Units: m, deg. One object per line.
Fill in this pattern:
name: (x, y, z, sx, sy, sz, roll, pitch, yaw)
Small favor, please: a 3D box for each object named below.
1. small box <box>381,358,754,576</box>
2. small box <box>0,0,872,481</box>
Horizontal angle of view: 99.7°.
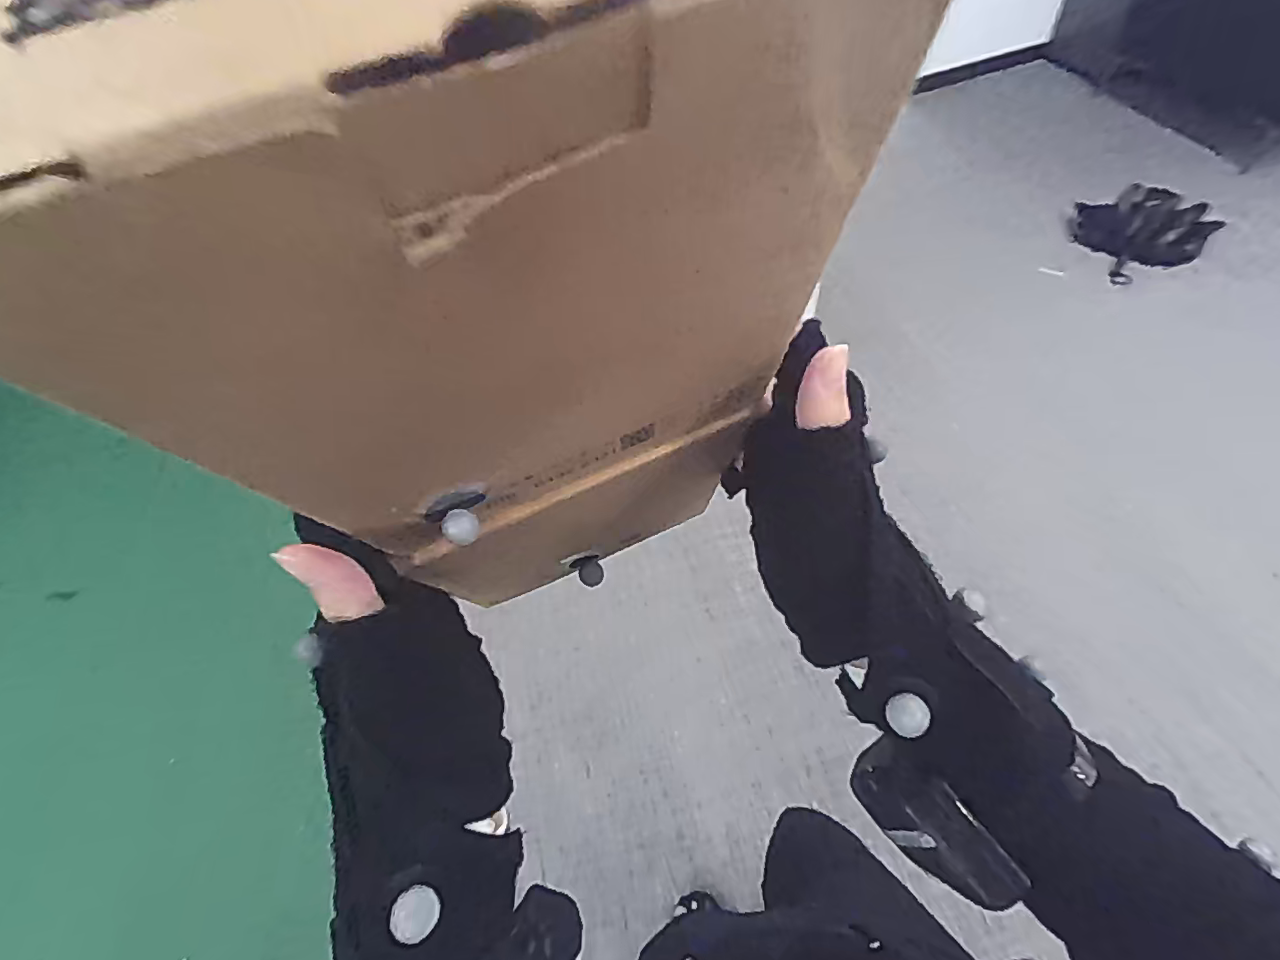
small box: (-0.059, -0.061, 0.327, 0.168, 0.176, 0.179, -23, 73, -9)
small box: (-0.056, -0.115, 0.189, 0.168, 0.176, 0.179, -23, 72, -8)
